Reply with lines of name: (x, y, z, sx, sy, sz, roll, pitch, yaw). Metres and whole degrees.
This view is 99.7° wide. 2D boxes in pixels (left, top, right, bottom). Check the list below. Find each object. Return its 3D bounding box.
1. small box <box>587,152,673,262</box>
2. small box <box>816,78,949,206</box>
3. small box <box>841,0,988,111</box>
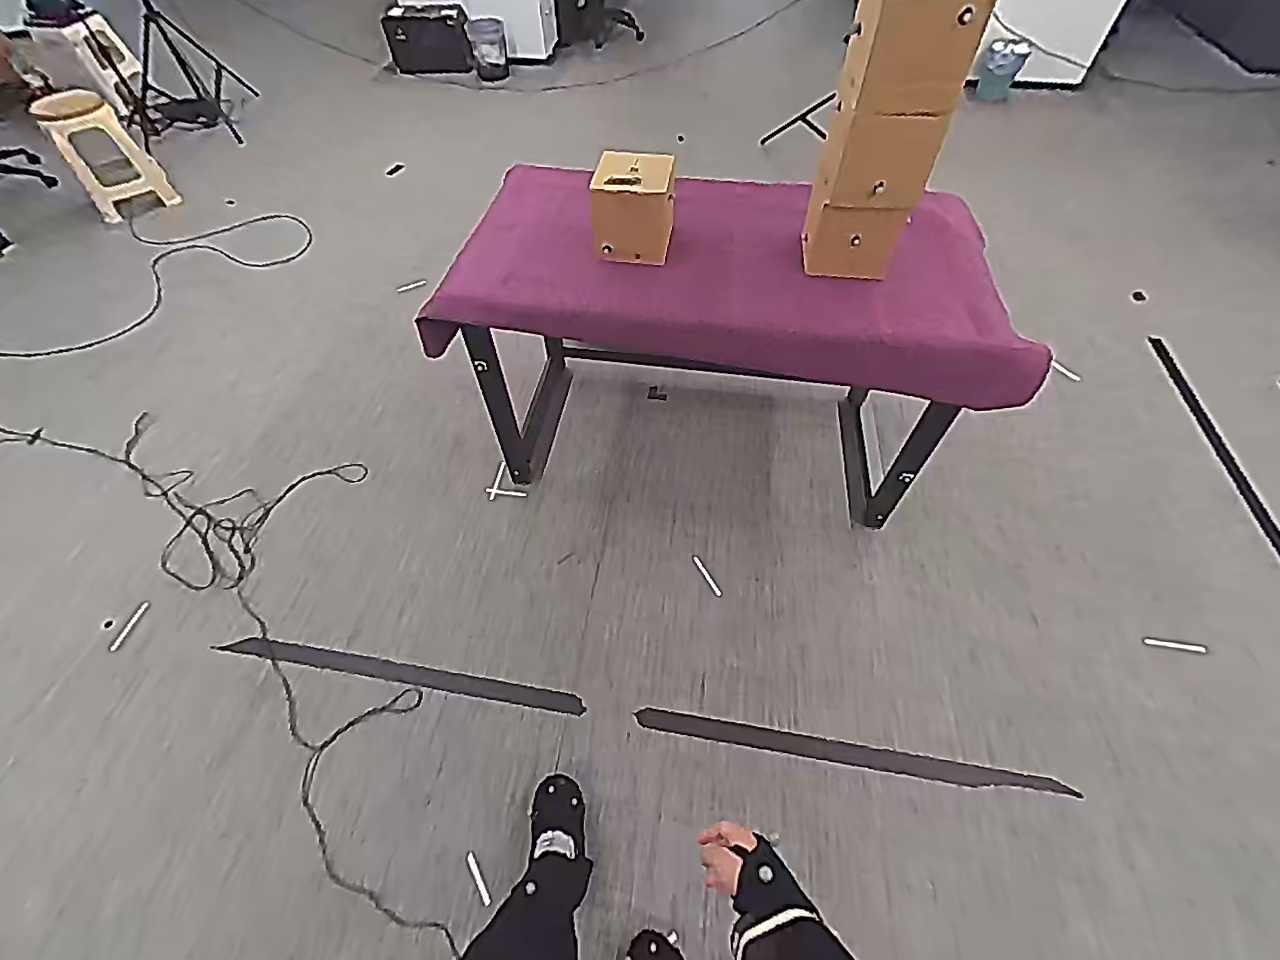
small box: (-0.017, -0.622, 1.240, 0.168, 0.176, 0.179, 7, 54, 5)
small box: (0.461, -0.658, 1.059, 0.179, 0.176, 0.168, 3, 54, 2)
small box: (0.459, -0.760, 0.932, 0.179, 0.176, 0.168, 3, 54, 3)
